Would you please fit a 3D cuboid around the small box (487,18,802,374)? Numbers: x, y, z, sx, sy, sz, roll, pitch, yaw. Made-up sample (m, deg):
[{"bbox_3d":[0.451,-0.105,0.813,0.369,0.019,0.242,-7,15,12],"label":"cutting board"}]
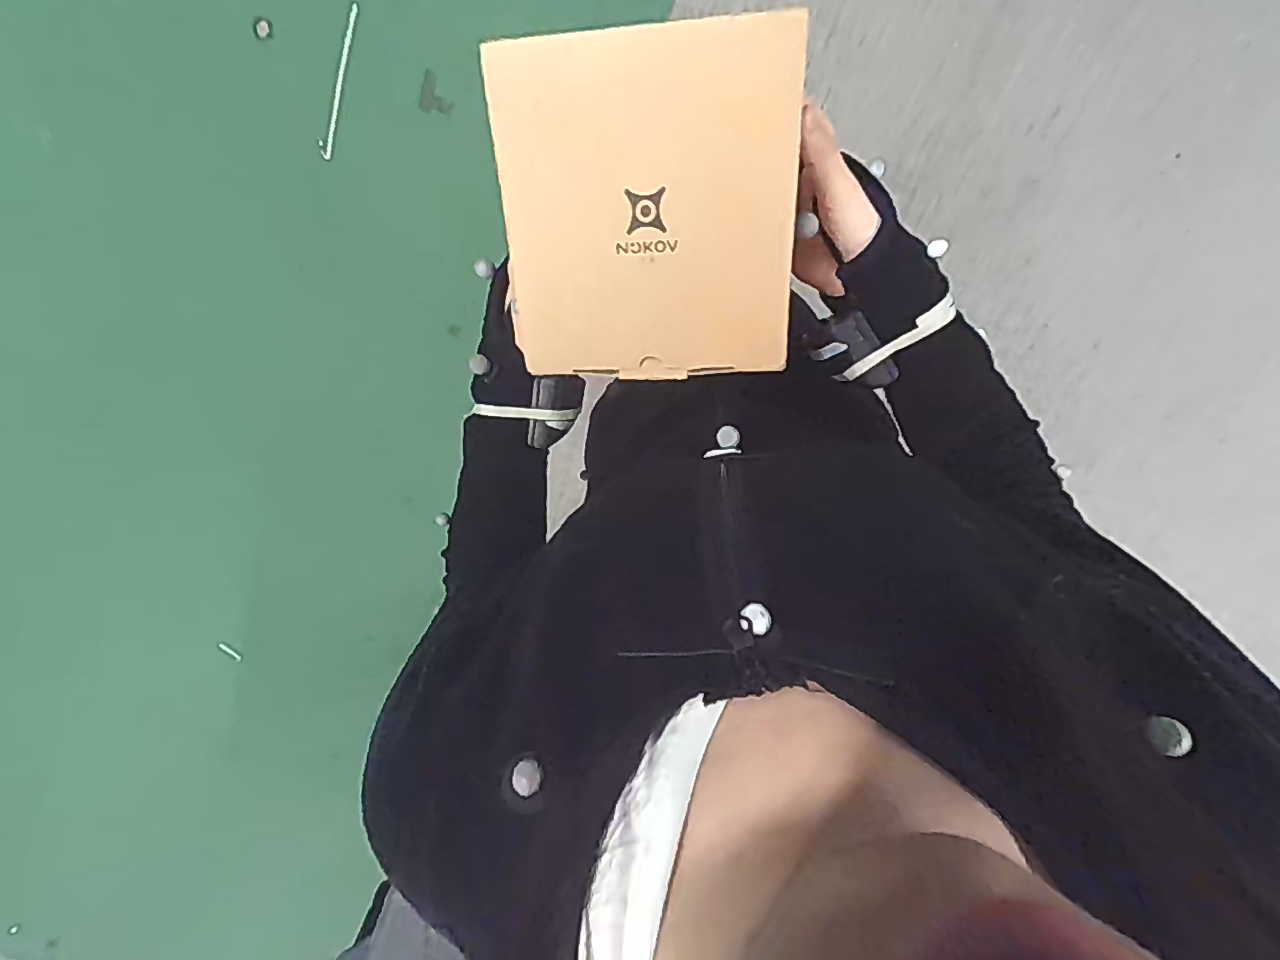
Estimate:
[{"bbox_3d":[0.013,-0.182,0.381,0.168,0.176,0.179,0,116,9],"label":"small box"}]
